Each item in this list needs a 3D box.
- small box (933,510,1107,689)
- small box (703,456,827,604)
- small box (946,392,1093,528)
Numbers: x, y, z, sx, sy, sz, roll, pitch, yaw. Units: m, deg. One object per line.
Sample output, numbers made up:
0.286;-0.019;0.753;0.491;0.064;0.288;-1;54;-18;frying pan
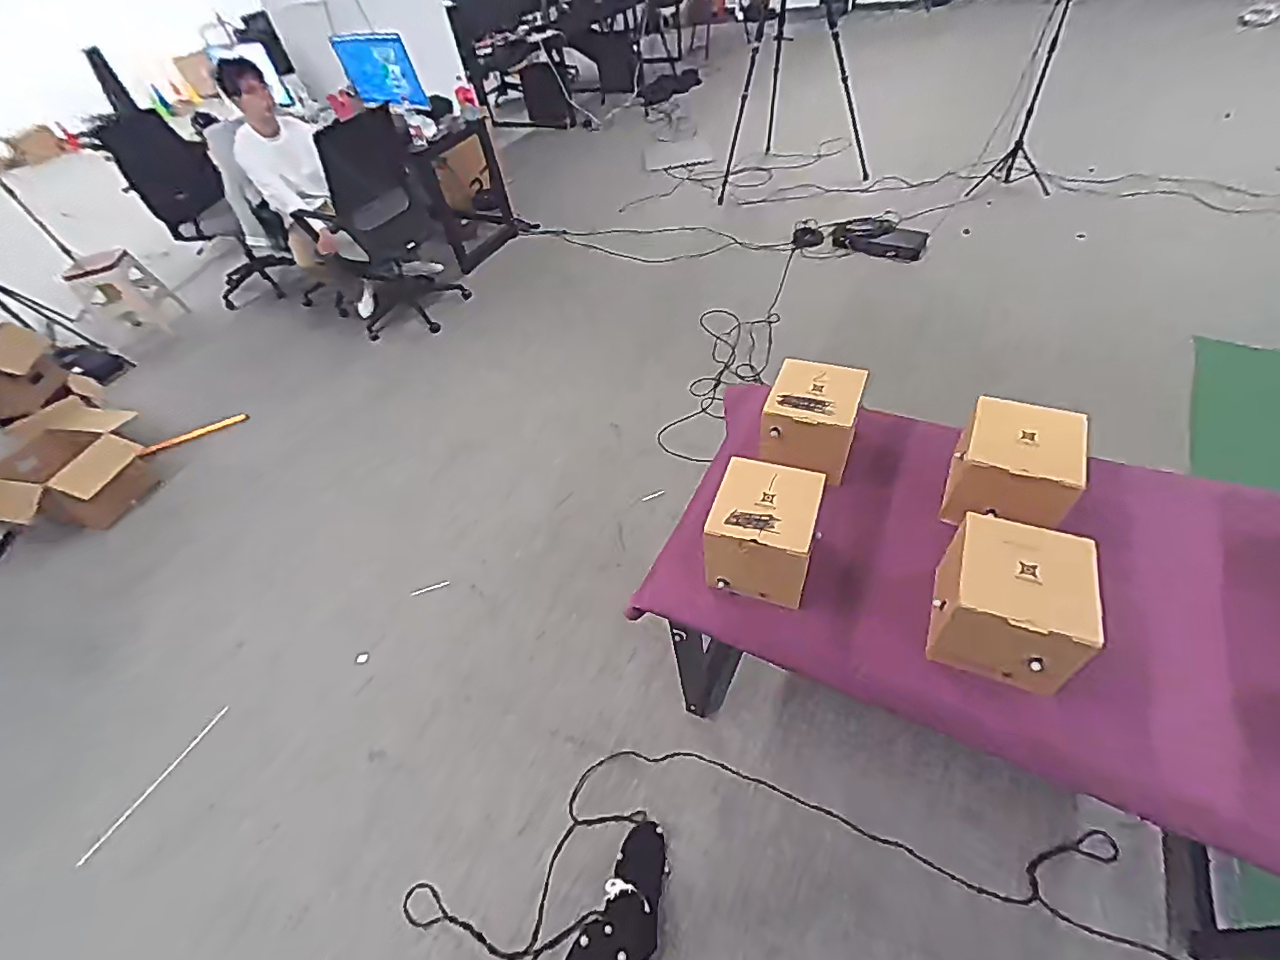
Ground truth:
0.547;0.177;0.797;0.168;0.176;0.179;15;52;22;small box
0.217;0.088;0.937;0.168;0.176;0.179;12;50;20;small box
0.660;-0.023;0.954;0.168;0.176;0.179;17;55;23;small box
